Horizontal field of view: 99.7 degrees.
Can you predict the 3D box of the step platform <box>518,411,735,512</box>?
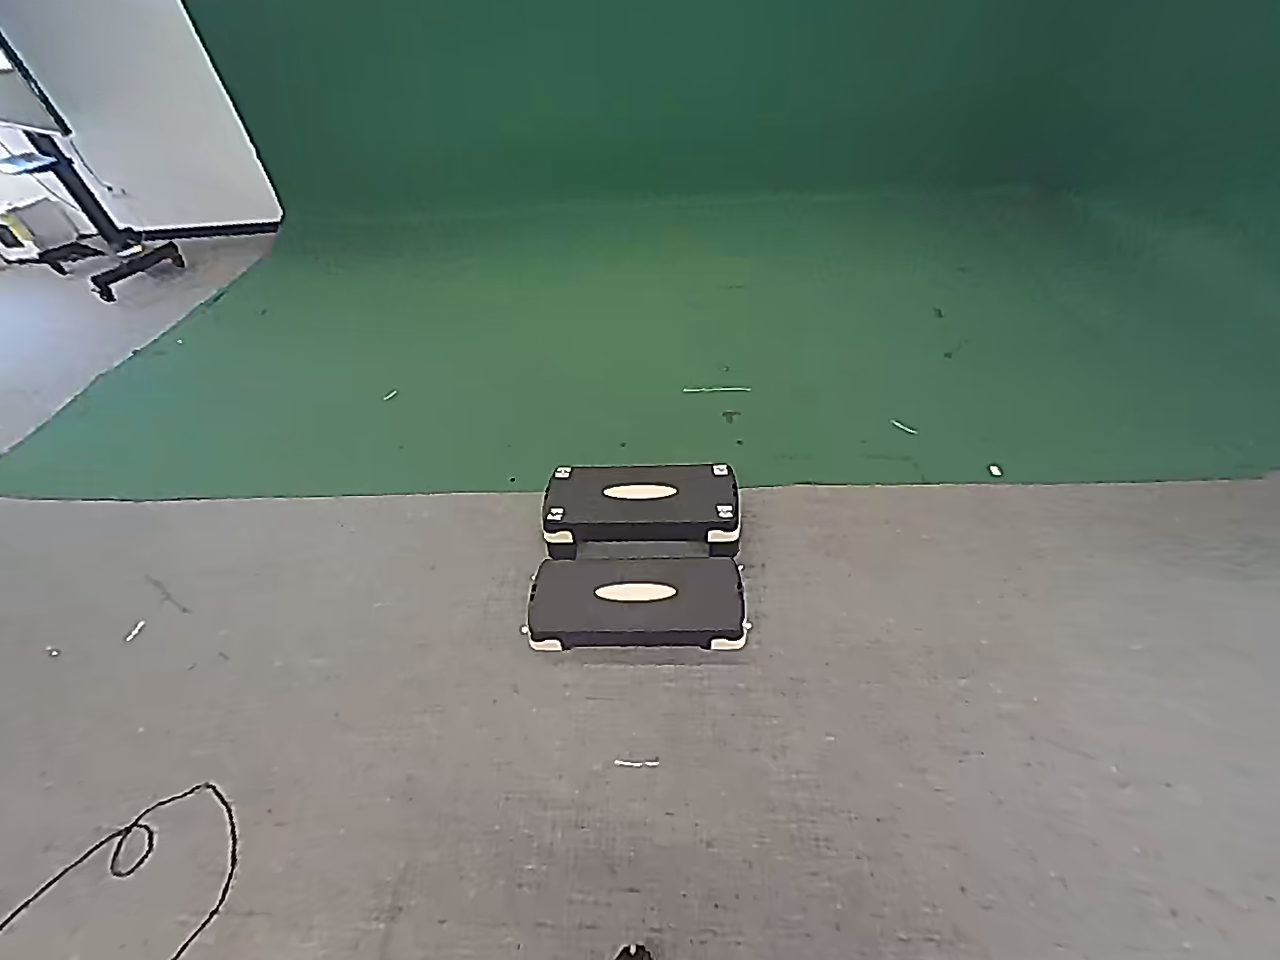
[{"bbox_3d":[-0.038,-0.058,1.780,0.684,0.204,0.286,-2,45,4],"label":"step platform"}]
